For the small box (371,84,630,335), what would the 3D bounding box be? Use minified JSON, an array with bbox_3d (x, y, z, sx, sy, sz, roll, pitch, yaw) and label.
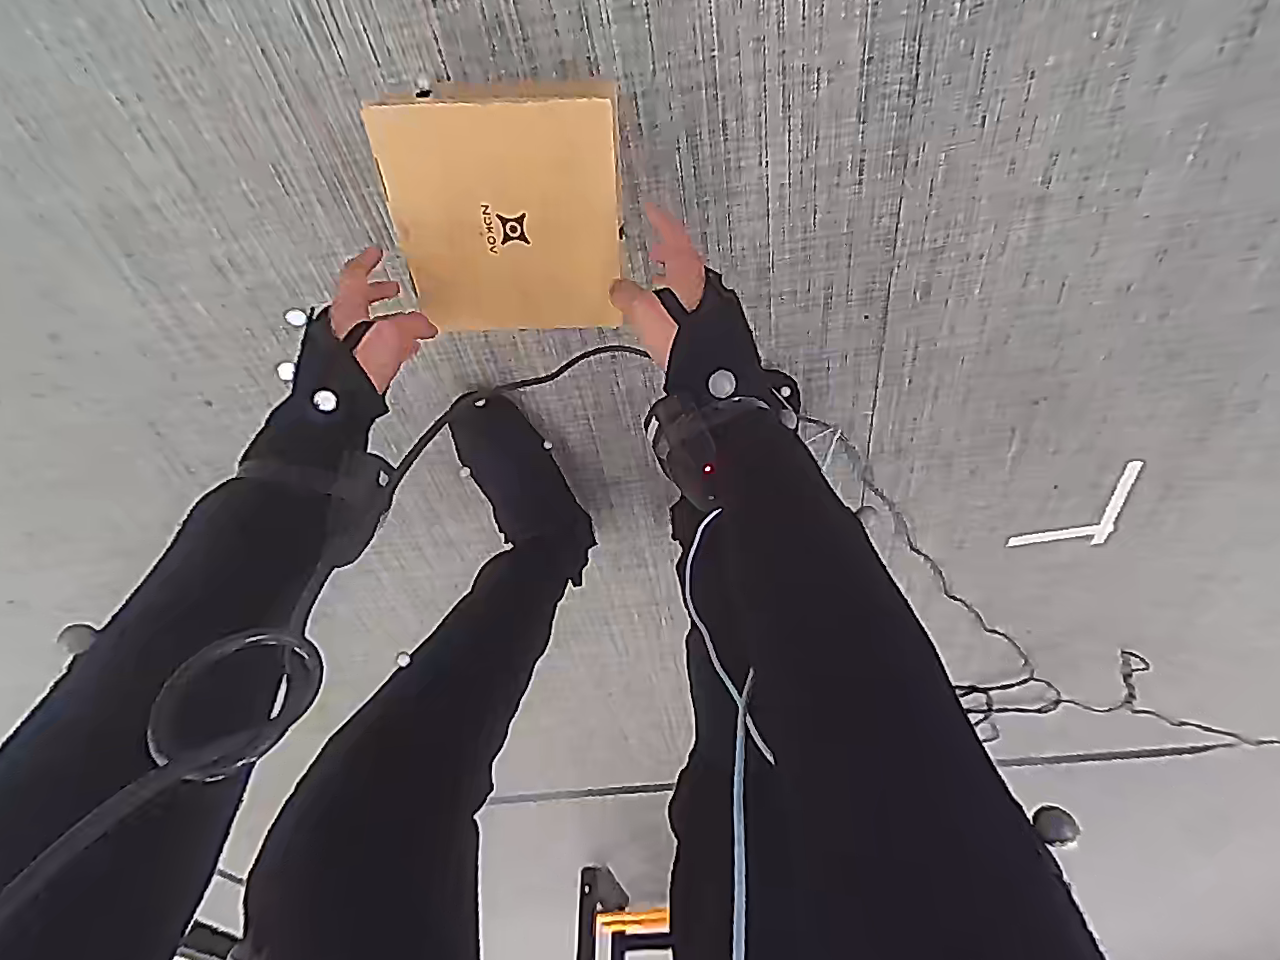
[{"bbox_3d":[-0.099,-0.243,0.481,0.179,0.176,0.168,-1,130,2],"label":"small box"}]
